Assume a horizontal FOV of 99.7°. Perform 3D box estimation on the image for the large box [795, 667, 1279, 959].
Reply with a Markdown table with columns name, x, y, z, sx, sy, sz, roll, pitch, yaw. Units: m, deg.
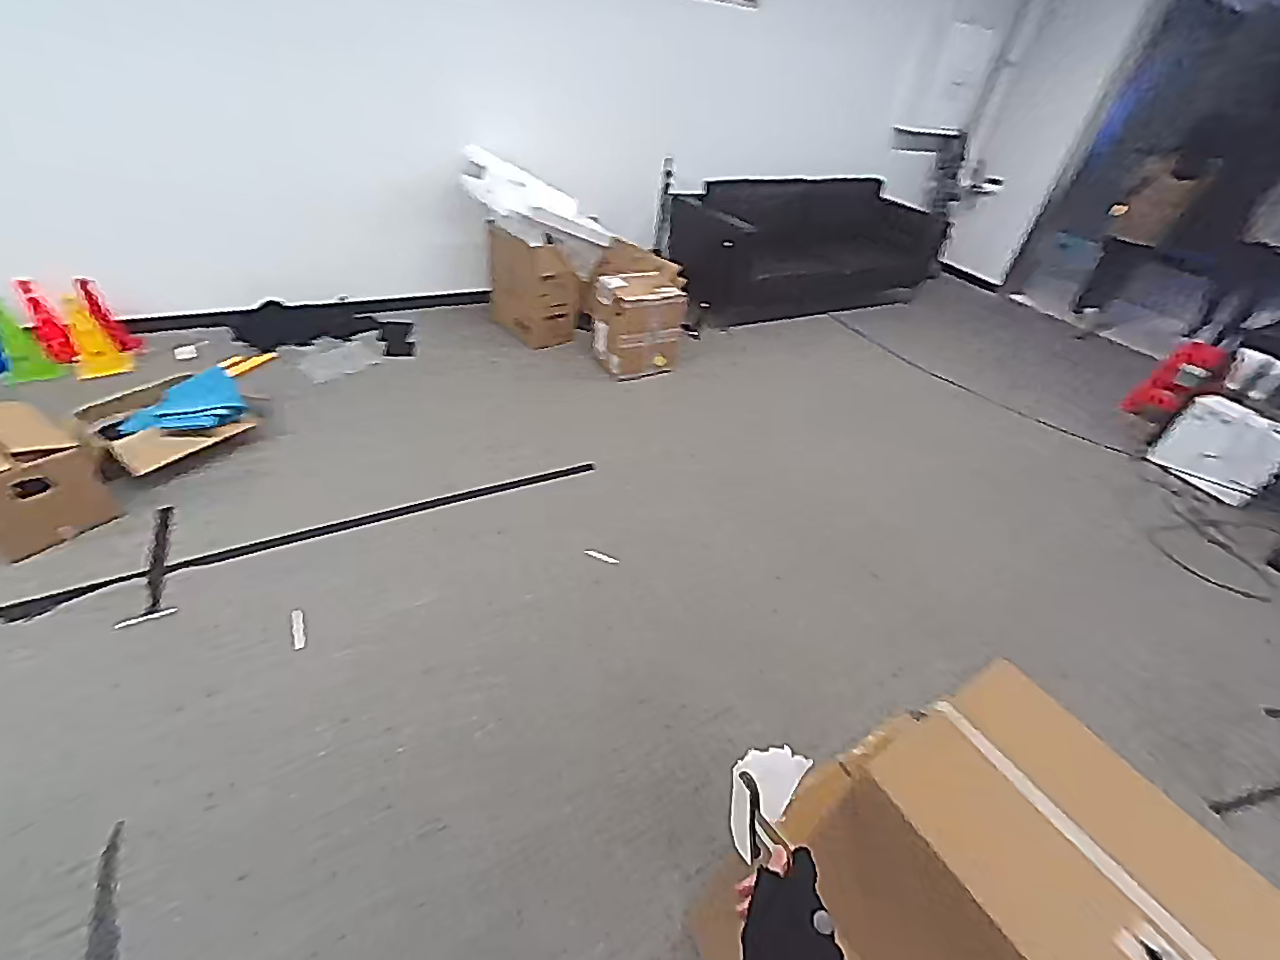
| name | x | y | z | sx | sy | sz | roll | pitch | yaw |
| --- | --- | --- | --- | --- | --- | --- | --- | --- | --- |
| large box | 0.483 | 0.540 | 0.697 | 0.320 | 0.320 | 0.408 | -17 | 46 | -28 |
